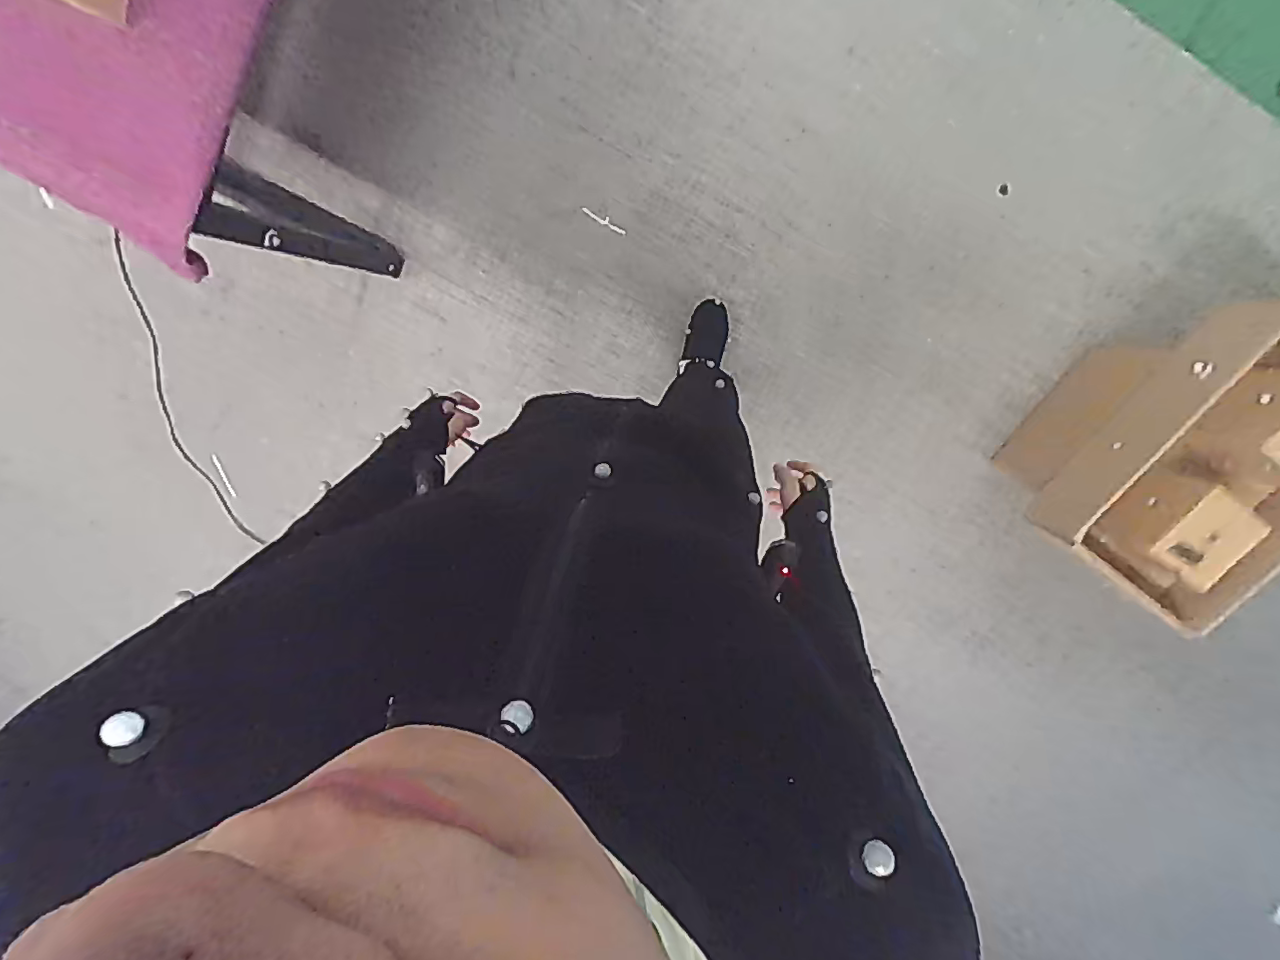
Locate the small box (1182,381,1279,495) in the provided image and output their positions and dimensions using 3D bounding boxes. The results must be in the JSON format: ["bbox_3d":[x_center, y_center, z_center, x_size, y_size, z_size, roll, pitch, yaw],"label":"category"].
[{"bbox_3d":[1.310,-0.090,1.120,0.168,0.176,0.179,35,102,-8],"label":"small box"}]

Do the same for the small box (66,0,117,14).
[{"bbox_3d":[-0.759,-0.703,0.627,0.179,0.176,0.168,24,105,-4],"label":"small box"}]
